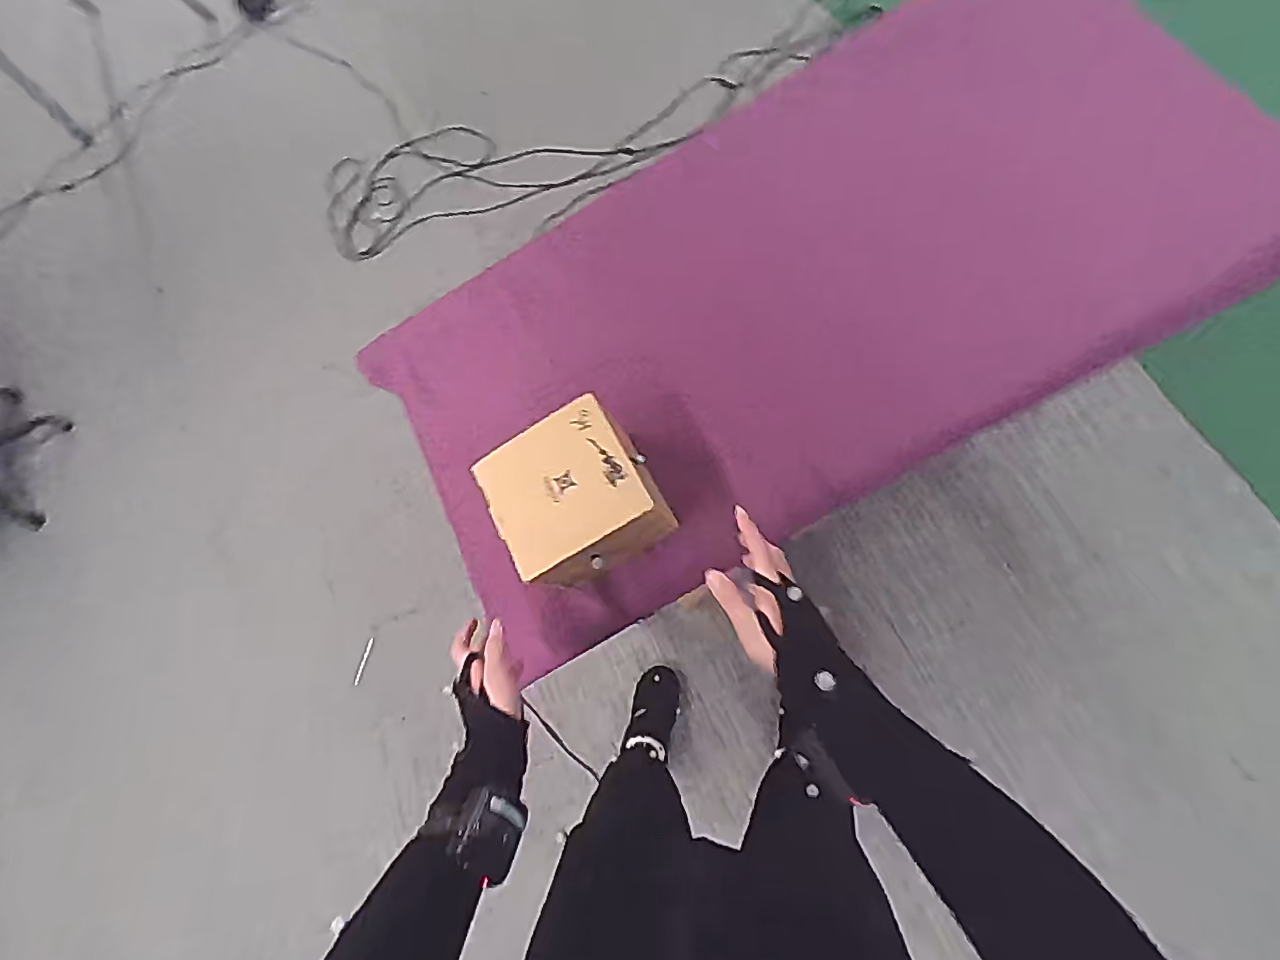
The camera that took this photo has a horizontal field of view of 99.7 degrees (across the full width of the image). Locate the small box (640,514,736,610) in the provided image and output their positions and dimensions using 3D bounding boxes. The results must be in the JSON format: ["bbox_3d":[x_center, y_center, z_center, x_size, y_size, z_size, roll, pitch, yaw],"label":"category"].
[{"bbox_3d":[0.129,0.209,1.368,0.168,0.176,0.179,-38,72,3],"label":"small box"}]

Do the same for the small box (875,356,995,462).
[{"bbox_3d":[0.705,-0.161,1.316,0.168,0.176,0.179,-32,72,4],"label":"small box"}]

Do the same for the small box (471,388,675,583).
[{"bbox_3d":[-0.076,0.020,0.692,0.179,0.176,0.168,-31,71,5],"label":"small box"}]
